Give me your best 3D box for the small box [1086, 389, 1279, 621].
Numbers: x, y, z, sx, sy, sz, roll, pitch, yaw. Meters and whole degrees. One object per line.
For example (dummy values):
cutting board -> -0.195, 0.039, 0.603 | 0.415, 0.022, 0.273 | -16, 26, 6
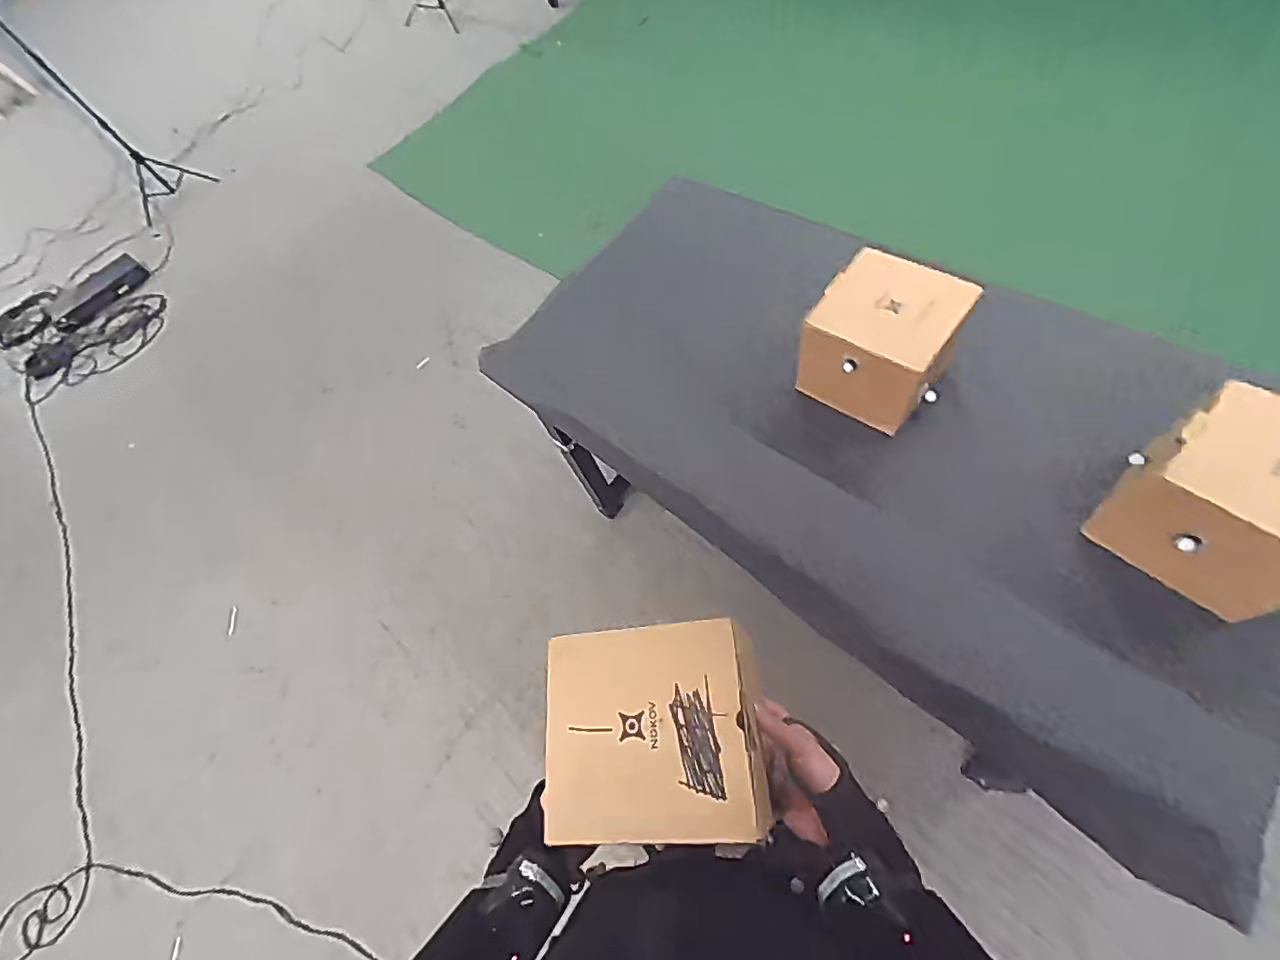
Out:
small box -> 0.678, 0.036, 0.623 | 0.168, 0.176, 0.179 | -44, 62, -11

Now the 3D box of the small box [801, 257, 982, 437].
small box -> 0.361, -0.193, 0.815 | 0.179, 0.176, 0.168 | 34, 76, 24
